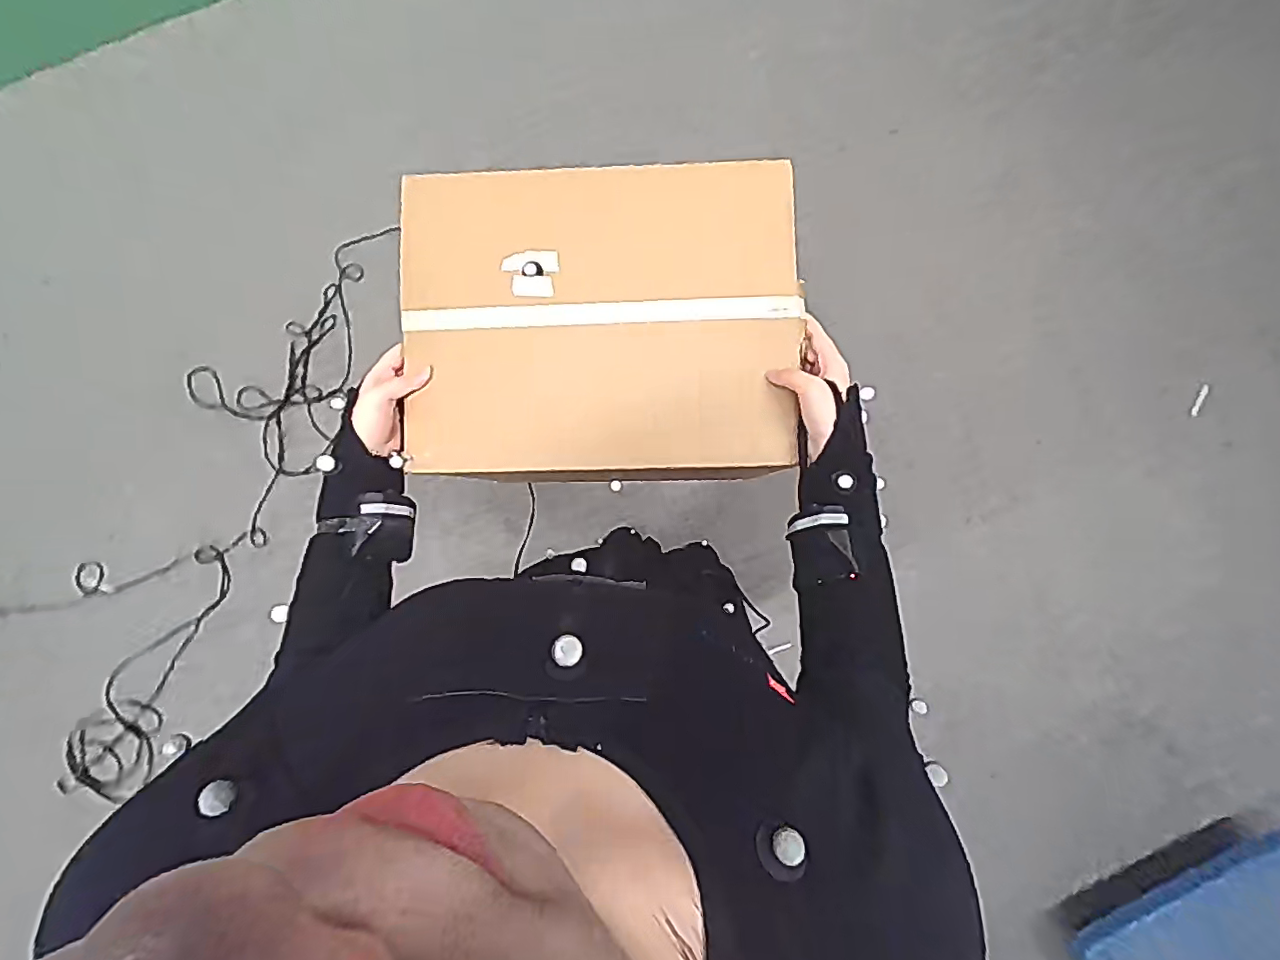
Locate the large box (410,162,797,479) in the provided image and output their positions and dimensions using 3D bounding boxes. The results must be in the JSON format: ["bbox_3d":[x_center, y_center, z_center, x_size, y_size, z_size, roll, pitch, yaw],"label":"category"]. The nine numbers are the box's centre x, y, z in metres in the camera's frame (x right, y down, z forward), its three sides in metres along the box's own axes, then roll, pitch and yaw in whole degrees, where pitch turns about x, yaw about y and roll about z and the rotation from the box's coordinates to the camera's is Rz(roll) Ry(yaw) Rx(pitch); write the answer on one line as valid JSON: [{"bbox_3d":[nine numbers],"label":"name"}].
[{"bbox_3d":[-0.033,-0.164,0.714,0.408,0.320,0.320,-2,88,4],"label":"large box"}]
